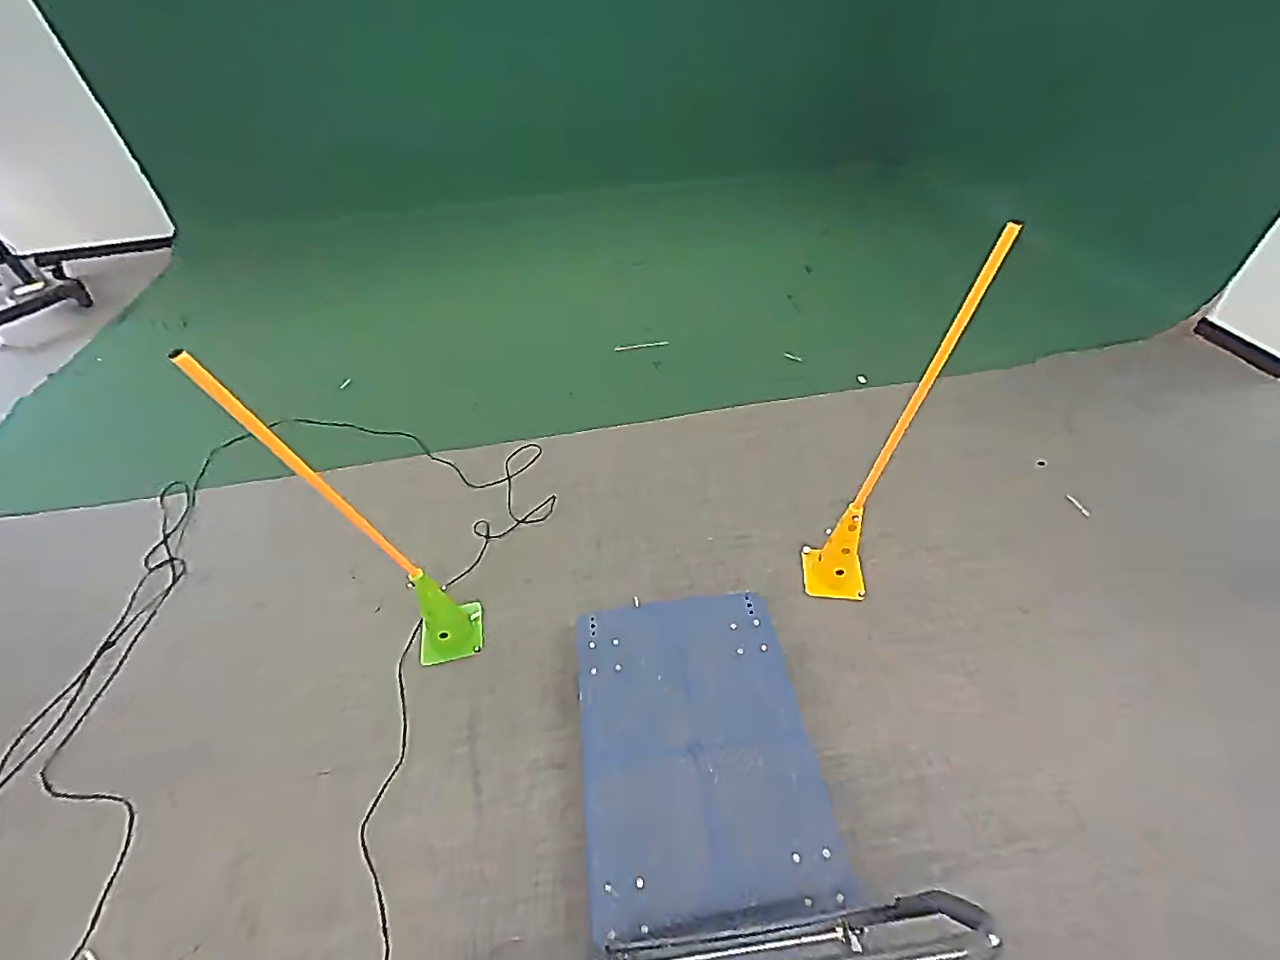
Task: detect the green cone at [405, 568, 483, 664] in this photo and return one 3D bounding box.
[{"bbox_3d":[-0.648,0.393,1.707,0.202,0.368,0.200,-13,46,-6],"label":"green cone"}]
